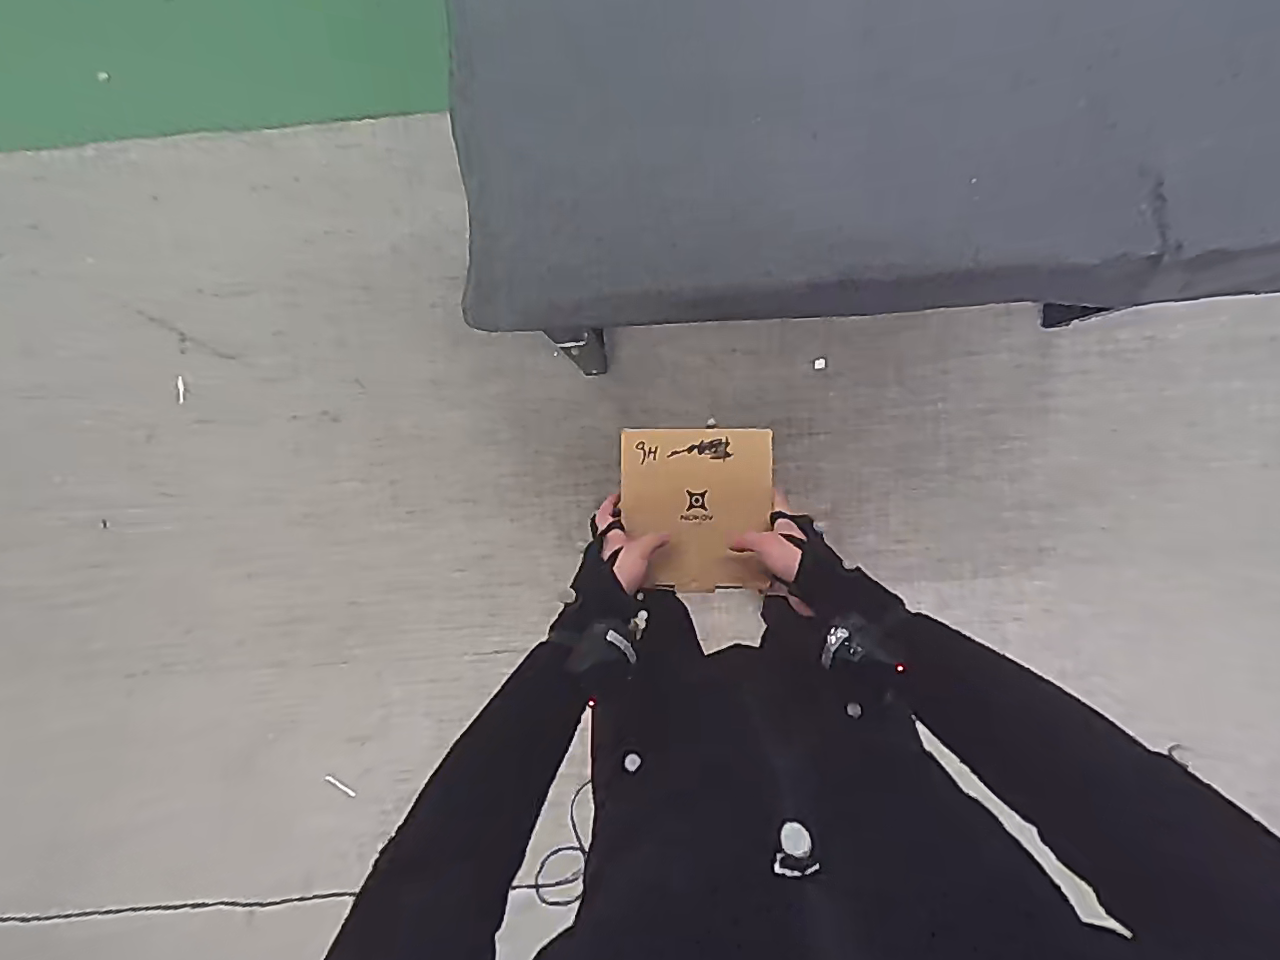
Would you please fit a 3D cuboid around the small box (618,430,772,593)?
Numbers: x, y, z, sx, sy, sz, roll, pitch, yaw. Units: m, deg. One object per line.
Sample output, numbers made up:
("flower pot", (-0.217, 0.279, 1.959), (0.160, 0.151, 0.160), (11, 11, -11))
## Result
("small box", (0.063, 0.031, 0.658), (0.168, 0.176, 0.179), (0, 91, 2))
